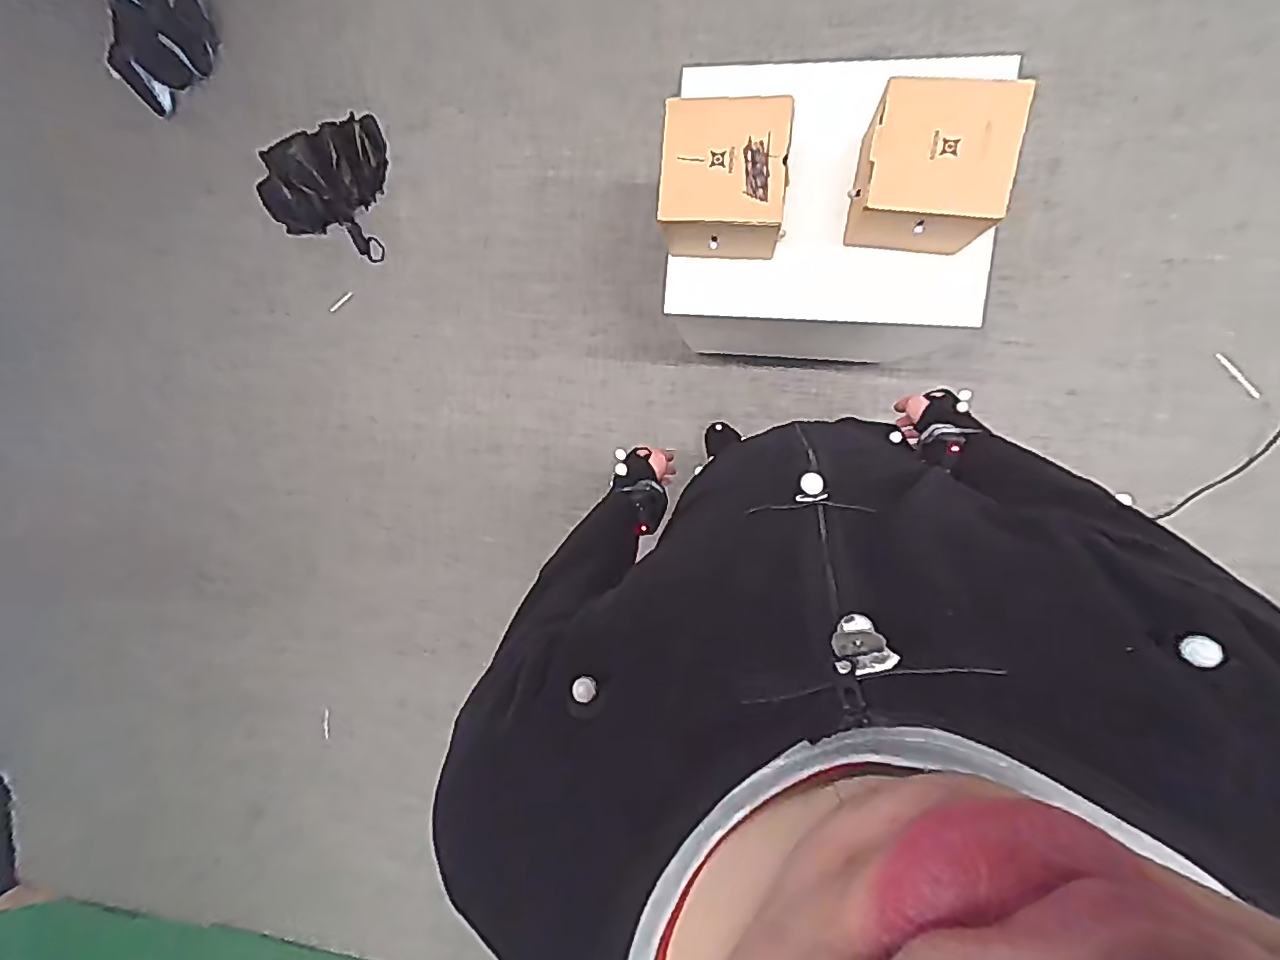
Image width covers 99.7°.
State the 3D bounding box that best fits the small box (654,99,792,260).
[{"bbox_3d":[0.127,-0.444,0.823,0.179,0.176,0.168,6,97,11],"label":"small box"}]

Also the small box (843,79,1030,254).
[{"bbox_3d":[0.404,-0.436,0.776,0.179,0.176,0.168,9,99,9],"label":"small box"}]
